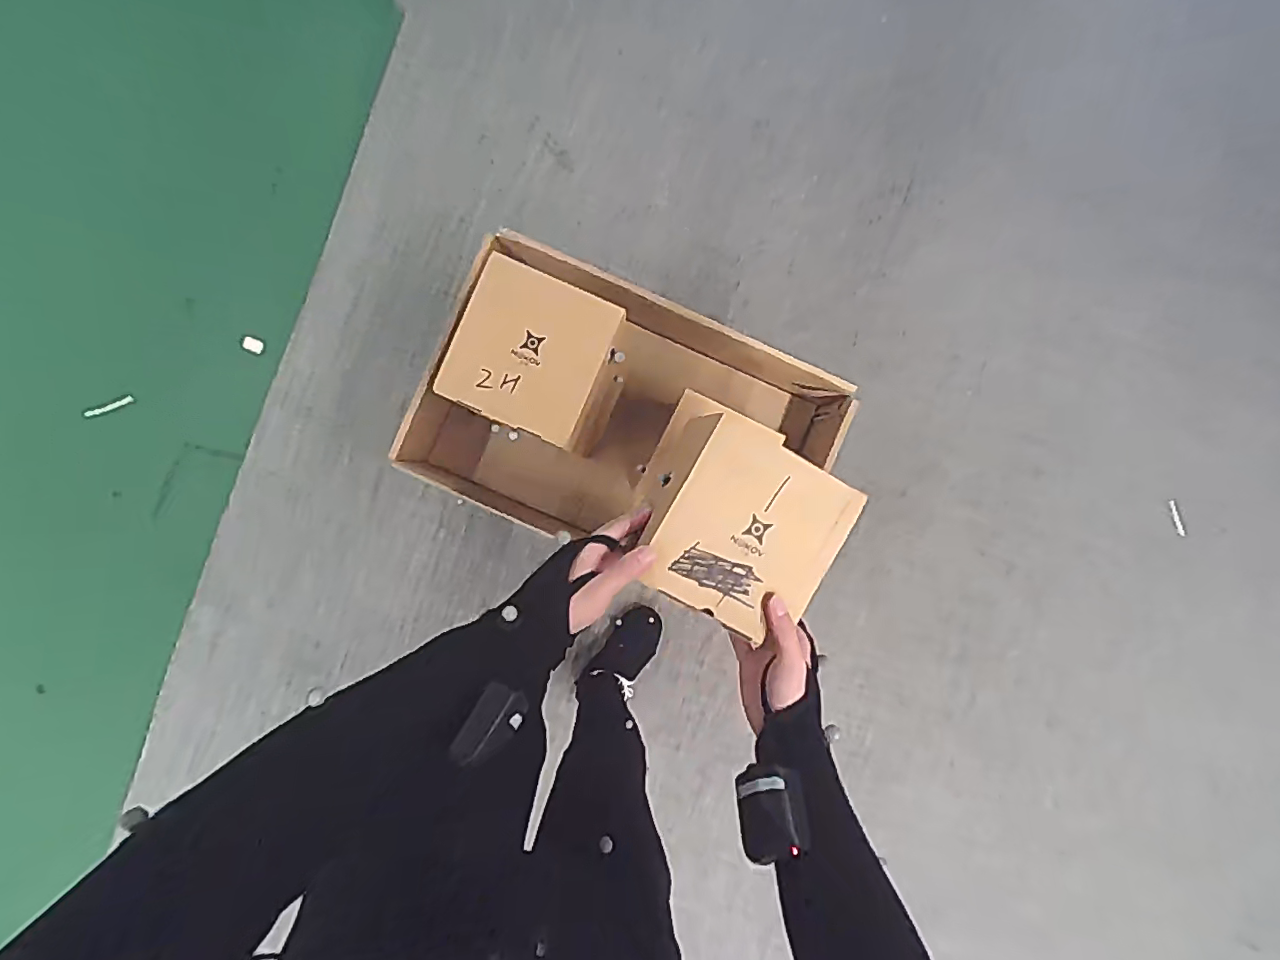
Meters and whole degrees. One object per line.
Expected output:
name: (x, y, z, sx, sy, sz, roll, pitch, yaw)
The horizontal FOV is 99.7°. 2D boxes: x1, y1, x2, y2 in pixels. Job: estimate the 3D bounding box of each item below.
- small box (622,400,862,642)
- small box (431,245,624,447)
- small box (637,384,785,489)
small box: (0.091, 0.034, 0.577, 0.168, 0.176, 0.179, 30, 91, -8)
small box: (-0.130, -0.153, 0.684, 0.168, 0.176, 0.179, 23, 90, -2)
small box: (0.099, -0.029, 0.859, 0.168, 0.176, 0.179, 25, 91, -2)
